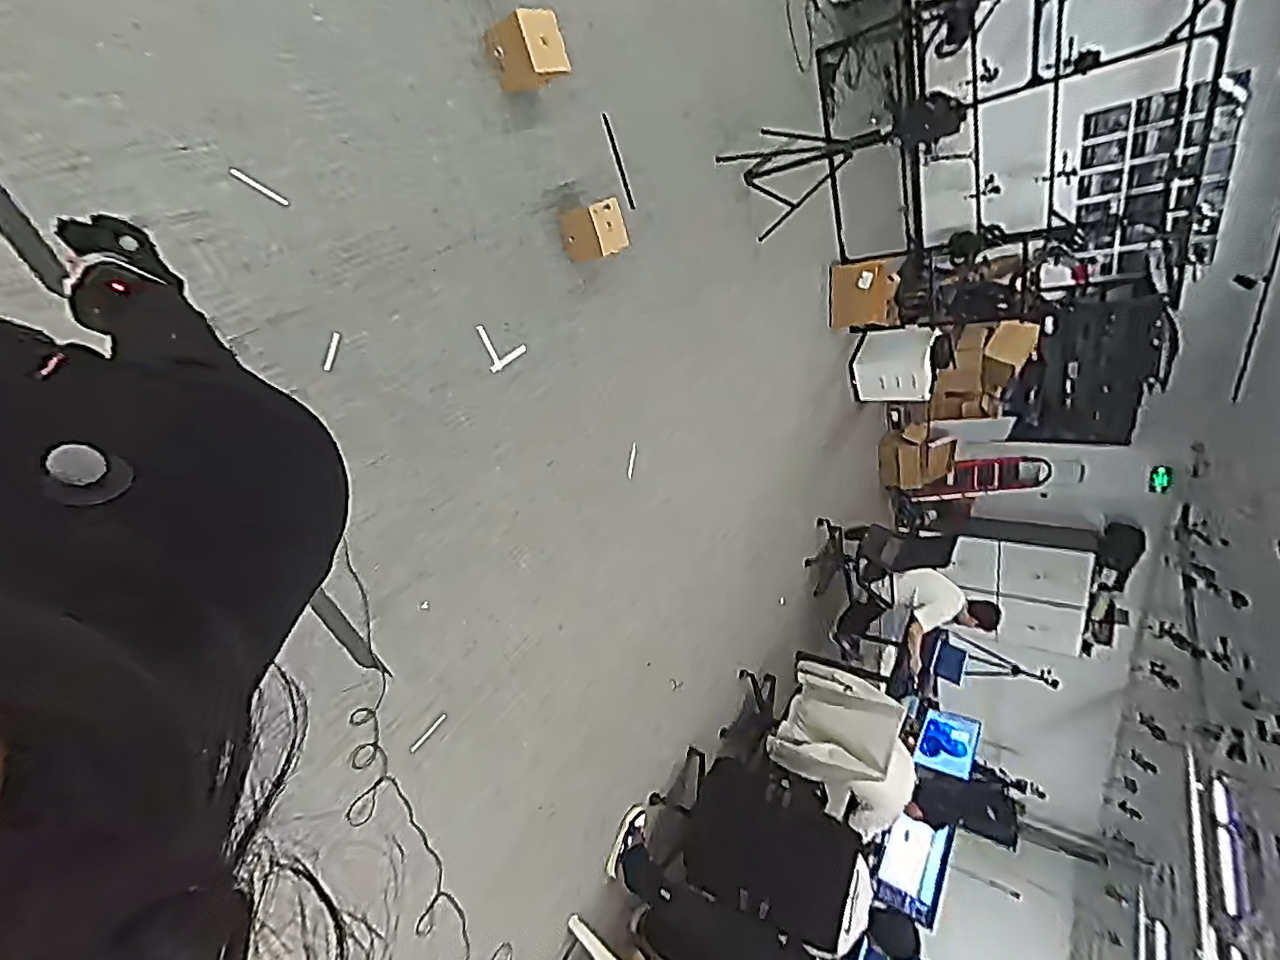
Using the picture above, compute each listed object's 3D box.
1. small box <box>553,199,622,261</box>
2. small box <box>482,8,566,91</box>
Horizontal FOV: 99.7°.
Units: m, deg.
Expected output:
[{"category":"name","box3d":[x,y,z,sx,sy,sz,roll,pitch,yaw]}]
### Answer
[{"category":"small box","box3d":[-0.198,-0.940,2.043,0.168,0.176,0.179,-43,128,-40]},{"category":"small box","box3d":[-0.377,-1.390,1.753,0.179,0.176,0.168,-43,125,-39]}]
